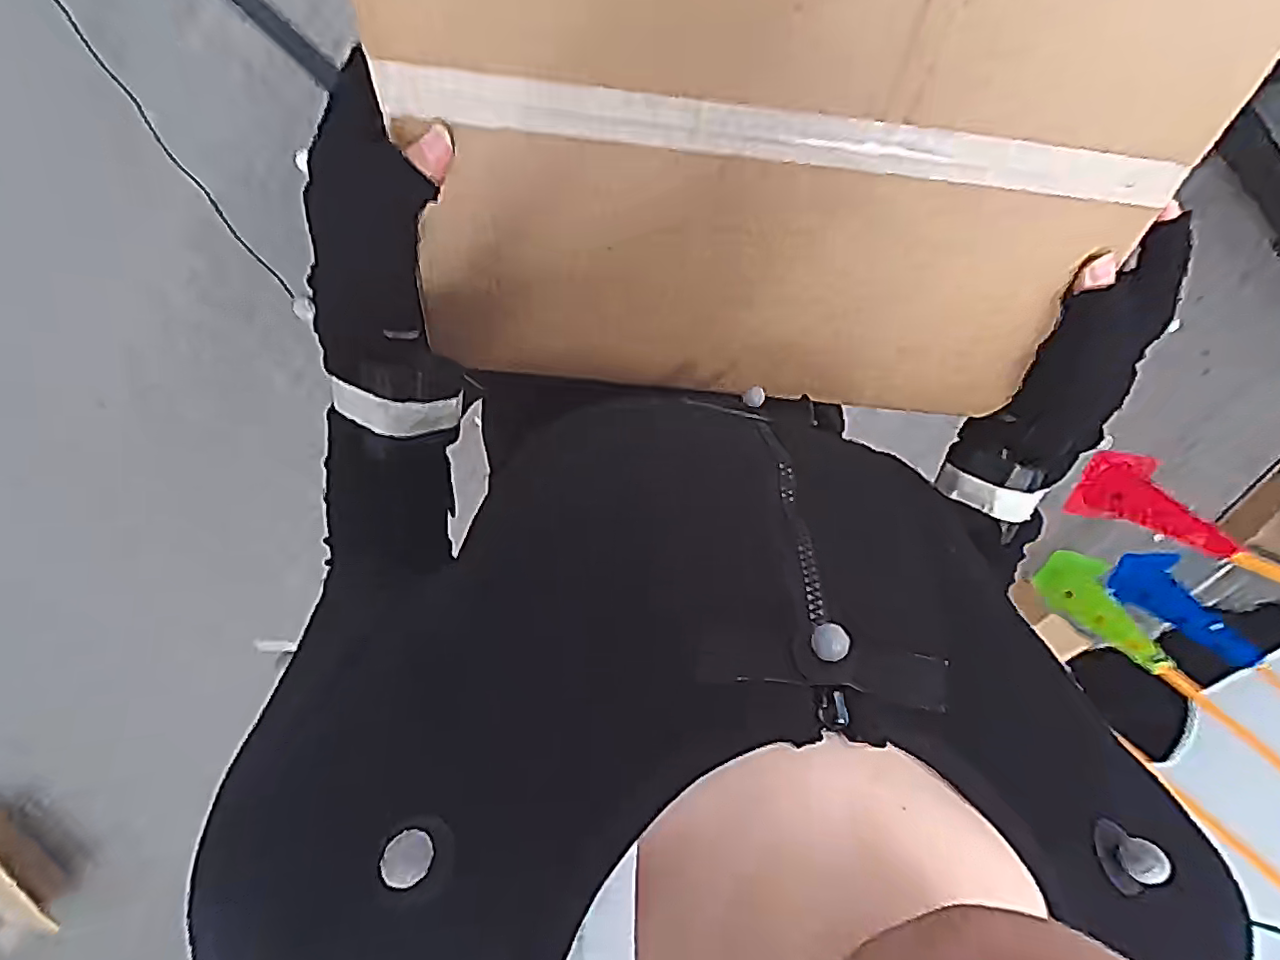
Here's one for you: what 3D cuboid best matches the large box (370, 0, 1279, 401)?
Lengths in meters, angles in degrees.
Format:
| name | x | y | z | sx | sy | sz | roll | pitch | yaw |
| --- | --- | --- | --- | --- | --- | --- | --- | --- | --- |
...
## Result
| name | x | y | z | sx | sy | sz | roll | pitch | yaw |
| --- | --- | --- | --- | --- | --- | --- | --- | --- | --- |
| large box | 0.073 | -0.282 | 0.380 | 0.408 | 0.320 | 0.320 | 4 | 137 | -4 |
